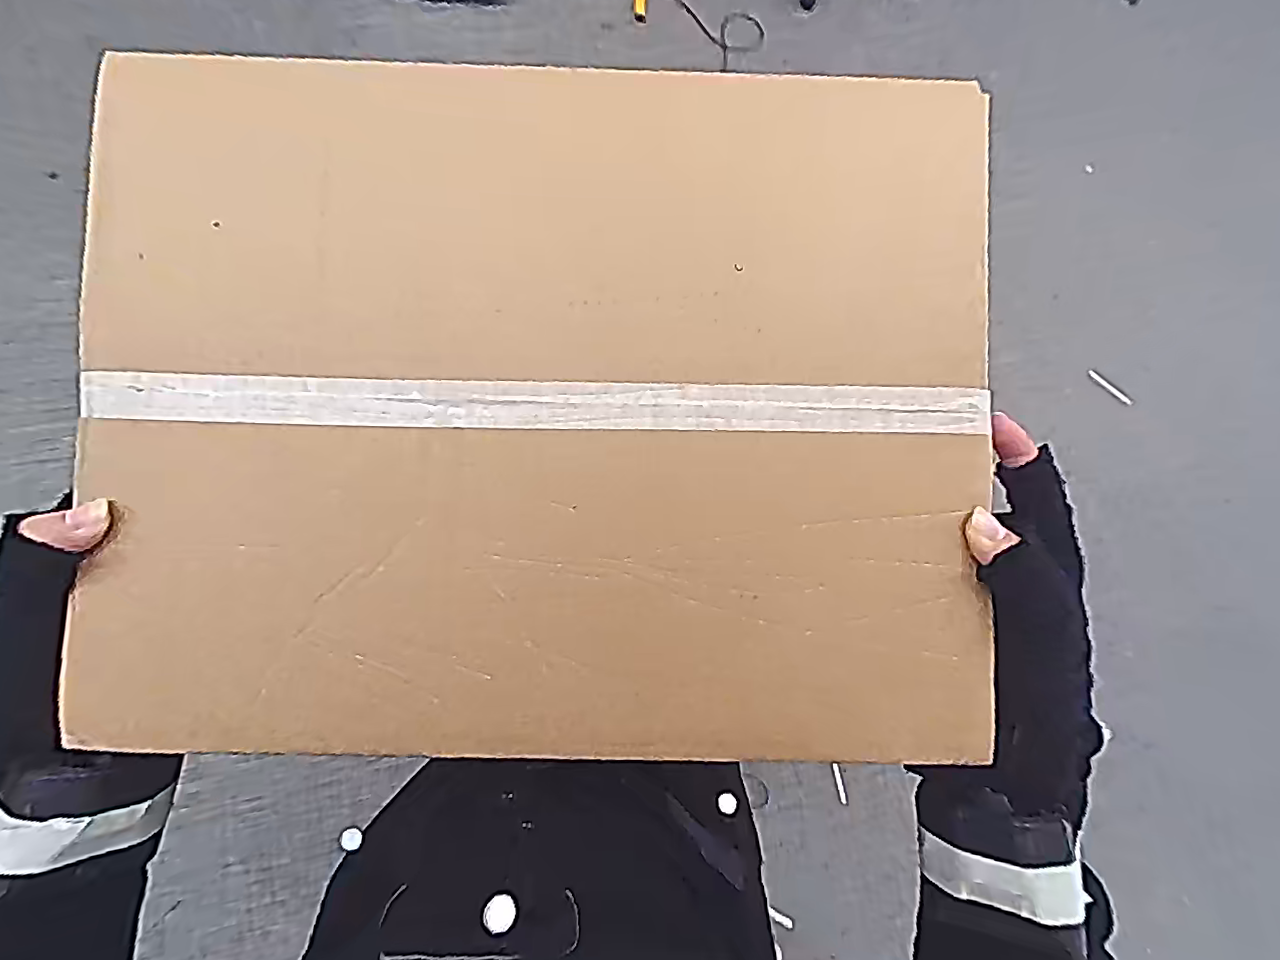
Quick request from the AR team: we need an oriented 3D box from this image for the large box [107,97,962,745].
[{"bbox_3d":[-0.045,-0.026,0.406,0.408,0.320,0.320,1,86,0],"label":"large box"}]
